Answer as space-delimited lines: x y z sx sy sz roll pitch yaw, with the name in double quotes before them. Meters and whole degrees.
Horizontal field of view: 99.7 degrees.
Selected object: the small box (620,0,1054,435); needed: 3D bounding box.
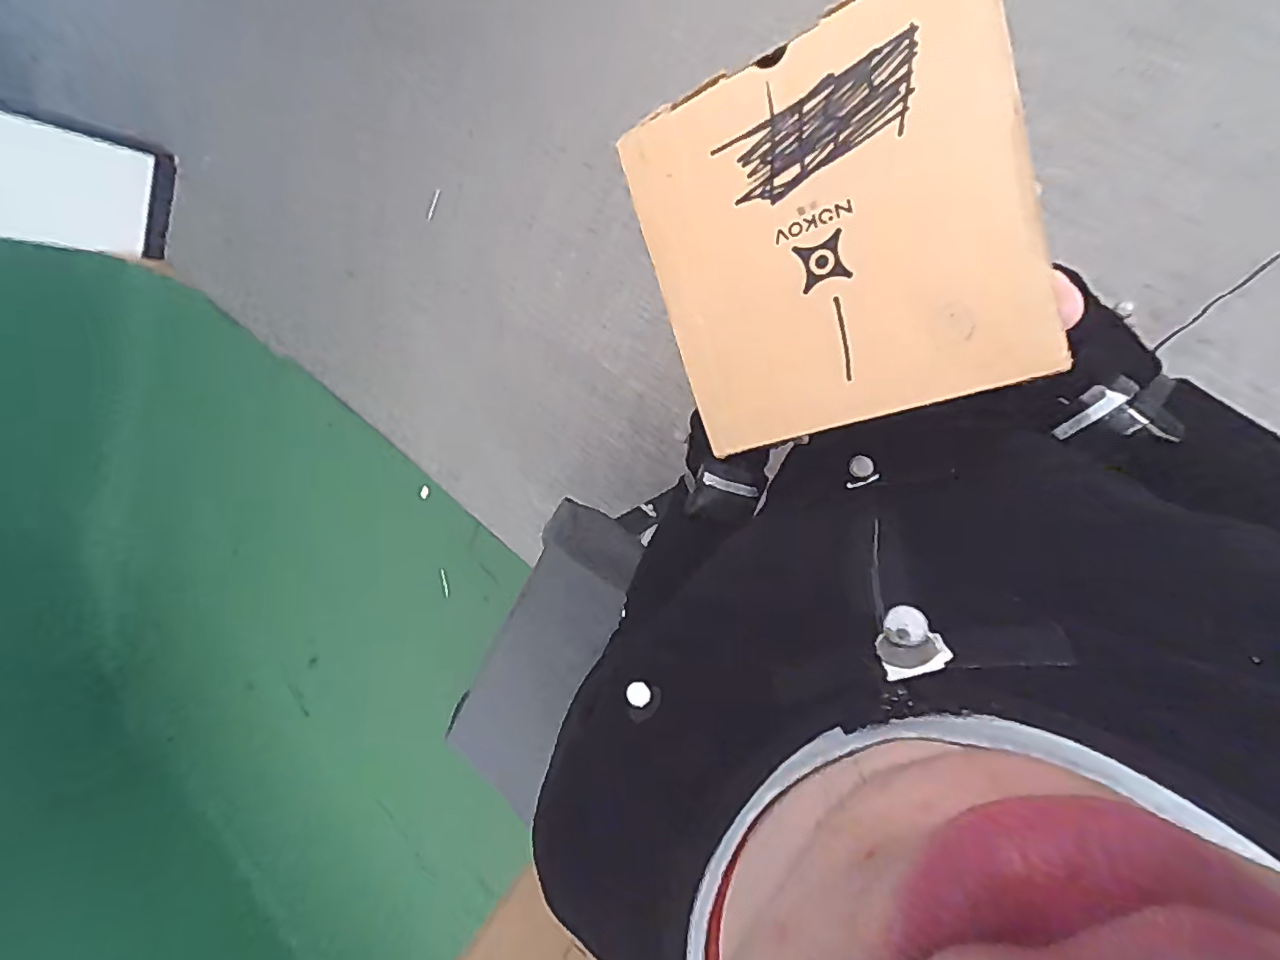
"small box" 0.116 -0.142 0.324 0.168 0.176 0.179 -12 101 29
